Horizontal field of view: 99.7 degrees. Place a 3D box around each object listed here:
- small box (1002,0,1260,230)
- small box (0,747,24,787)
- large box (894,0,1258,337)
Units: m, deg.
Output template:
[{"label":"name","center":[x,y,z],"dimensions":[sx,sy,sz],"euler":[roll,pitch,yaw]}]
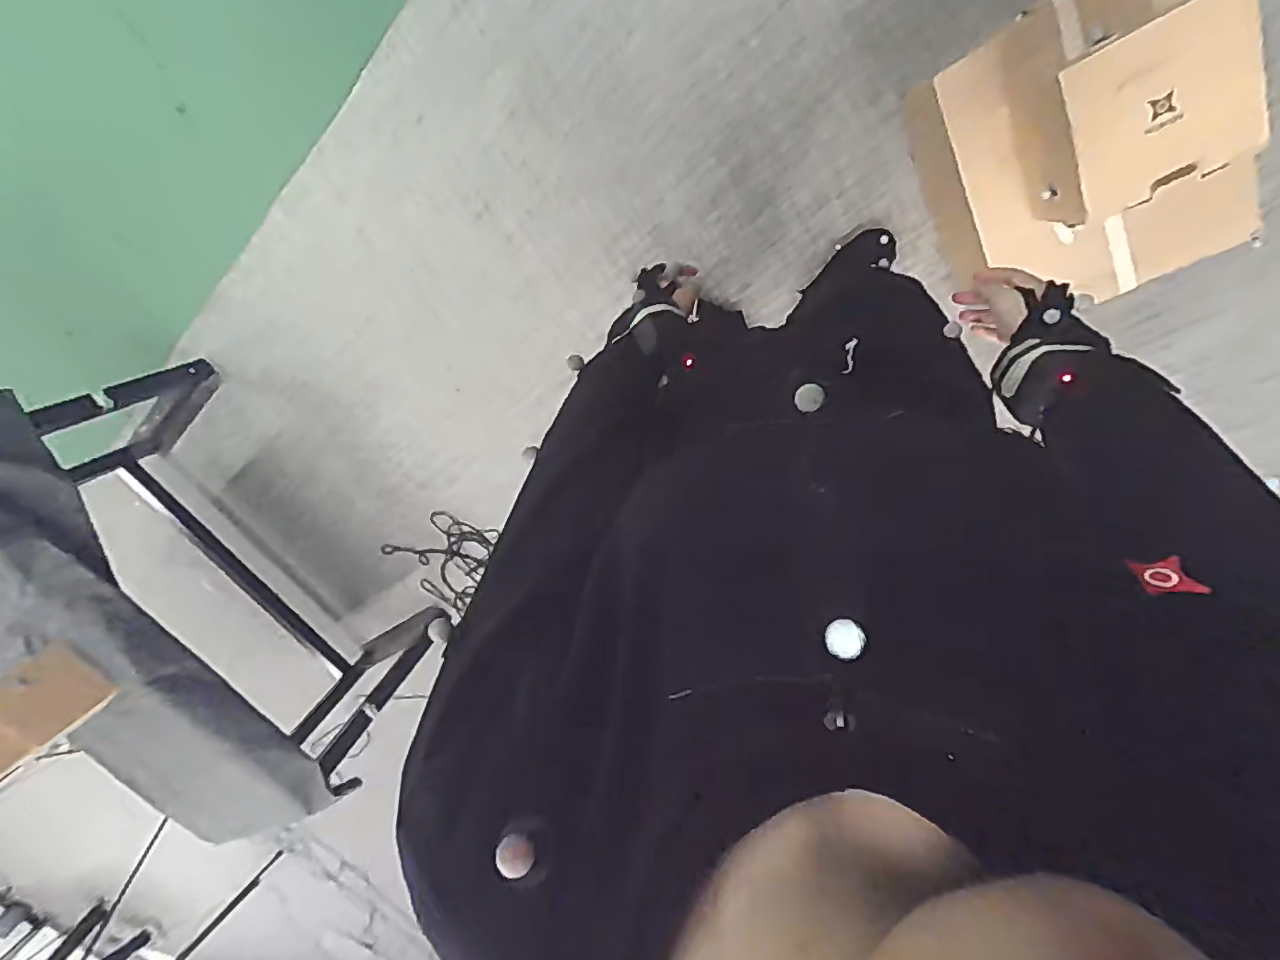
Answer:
[{"label":"small box","center":[0.578,-0.432,0.658],"dimensions":[0.168,0.176,0.179],"euler":[-23,109,23]},{"label":"small box","center":[-1.437,0.615,1.101],"dimensions":[0.168,0.176,0.179],"euler":[-30,105,28]},{"label":"large box","center":[0.661,-0.512,0.877],"dimensions":[0.320,0.320,0.408],"euler":[-23,110,26]}]
